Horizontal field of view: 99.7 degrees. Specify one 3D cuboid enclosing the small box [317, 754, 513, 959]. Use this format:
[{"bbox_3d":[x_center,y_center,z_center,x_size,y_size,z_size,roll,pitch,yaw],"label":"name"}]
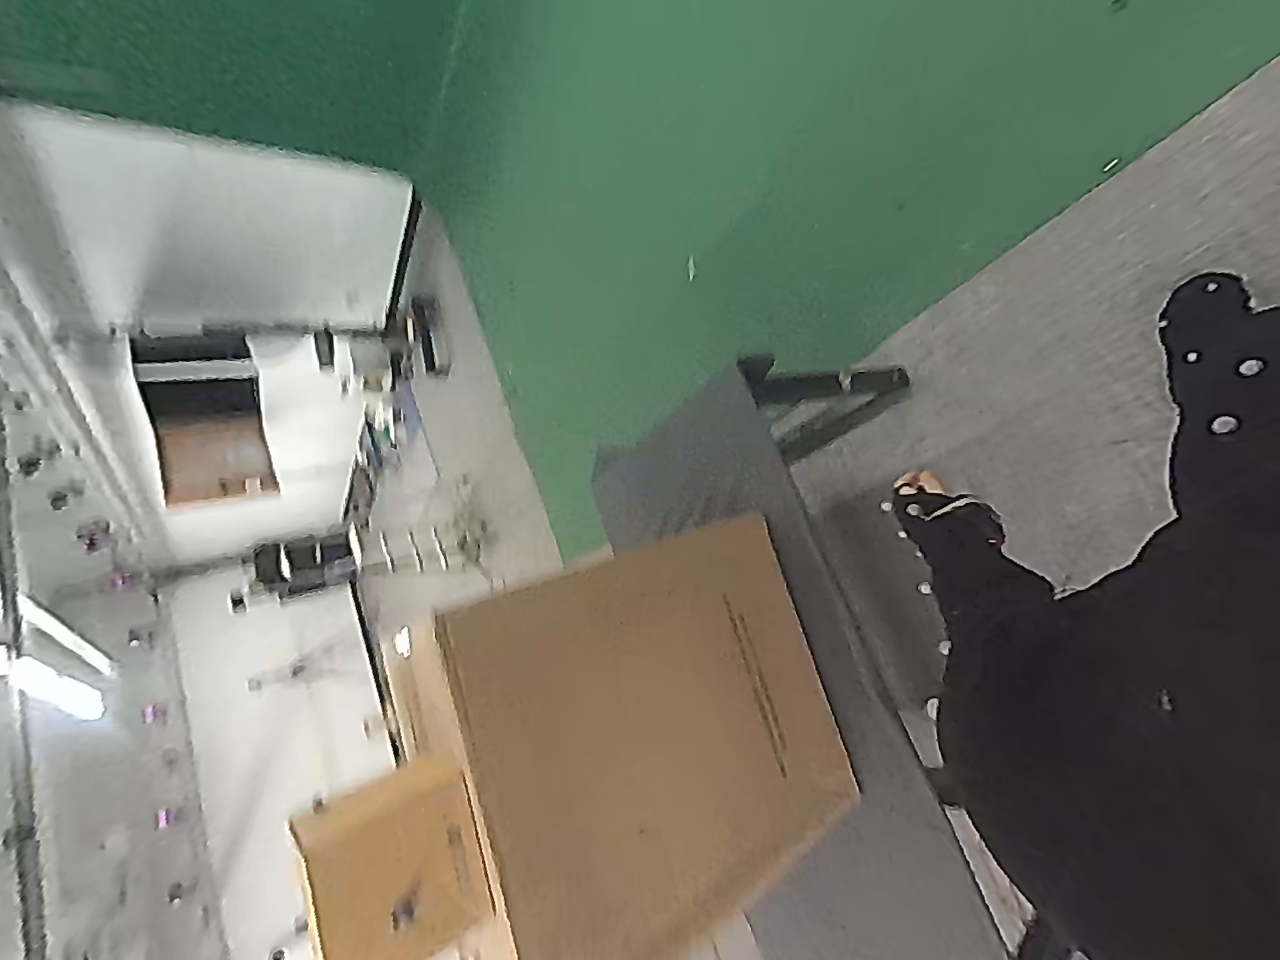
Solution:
[{"bbox_3d":[-0.269,0.455,0.653,0.179,0.176,0.168,-26,78,51],"label":"small box"}]
